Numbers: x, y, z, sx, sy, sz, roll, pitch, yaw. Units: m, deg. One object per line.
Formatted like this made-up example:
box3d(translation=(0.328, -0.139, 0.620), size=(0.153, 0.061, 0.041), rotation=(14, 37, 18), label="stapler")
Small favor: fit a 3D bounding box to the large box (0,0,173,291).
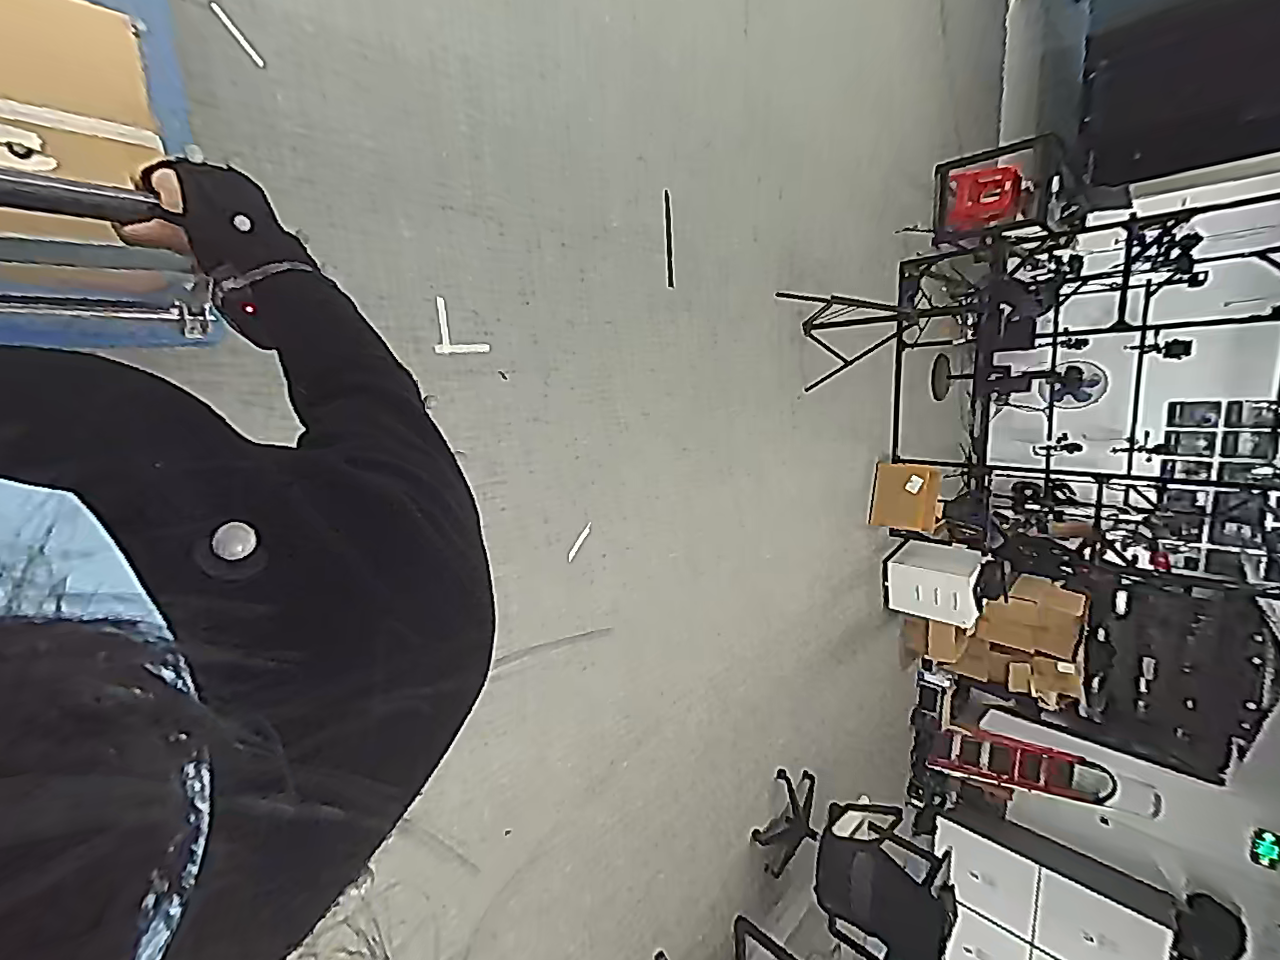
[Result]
box3d(translation=(-0.925, -0.446, 0.714), size=(0.408, 0.320, 0.320), rotation=(-13, 105, -45), label="large box")
